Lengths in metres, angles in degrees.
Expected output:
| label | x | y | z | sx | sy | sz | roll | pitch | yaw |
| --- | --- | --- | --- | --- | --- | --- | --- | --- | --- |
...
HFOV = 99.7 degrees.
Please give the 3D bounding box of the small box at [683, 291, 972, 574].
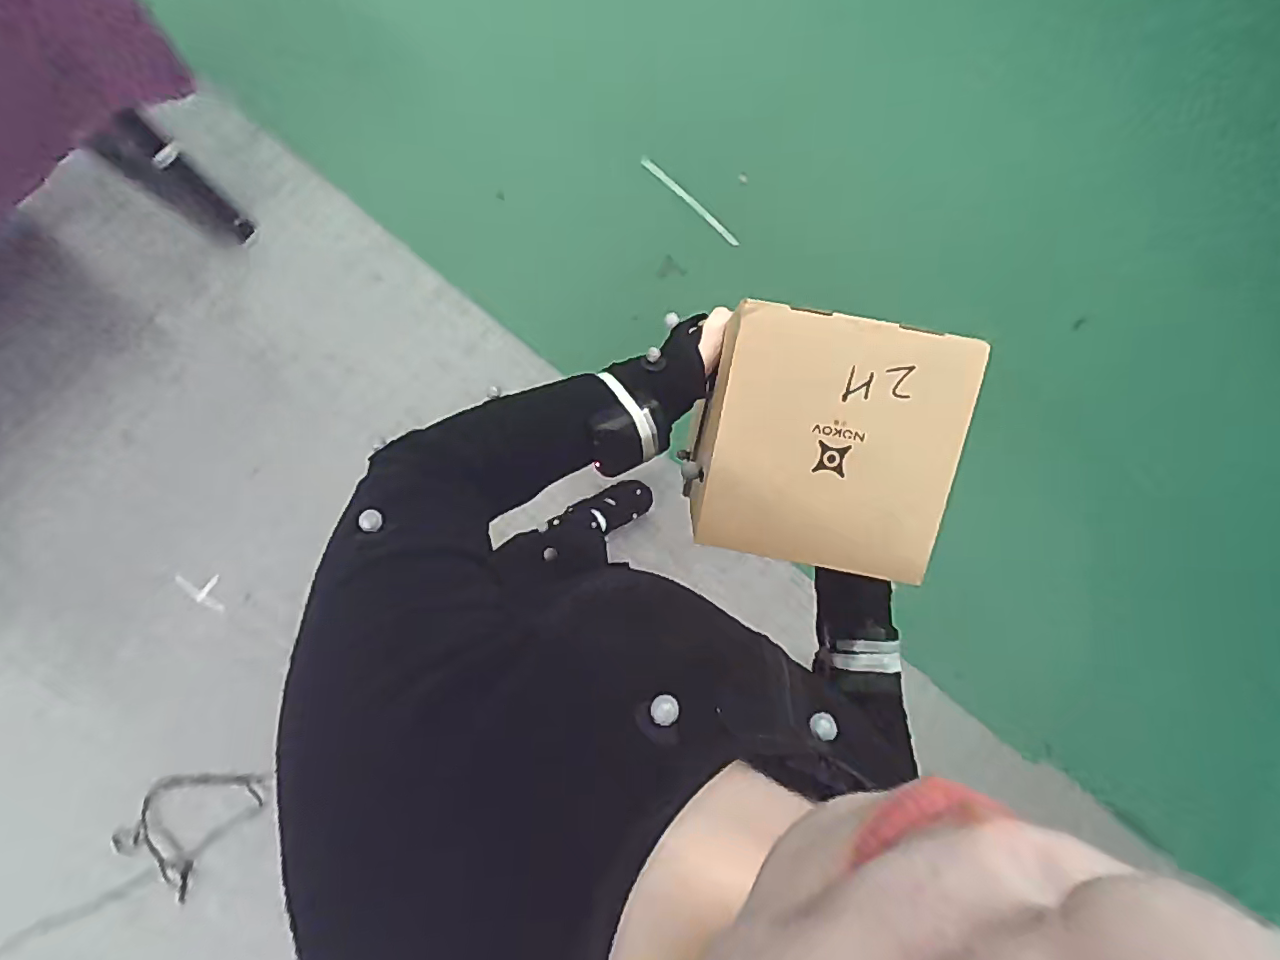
| label | x | y | z | sx | sy | sz | roll | pitch | yaw |
| --- | --- | --- | --- | --- | --- | --- | --- | --- | --- |
| small box | 0.131 | -0.044 | 0.452 | 0.168 | 0.176 | 0.179 | 9 | 100 | 2 |
